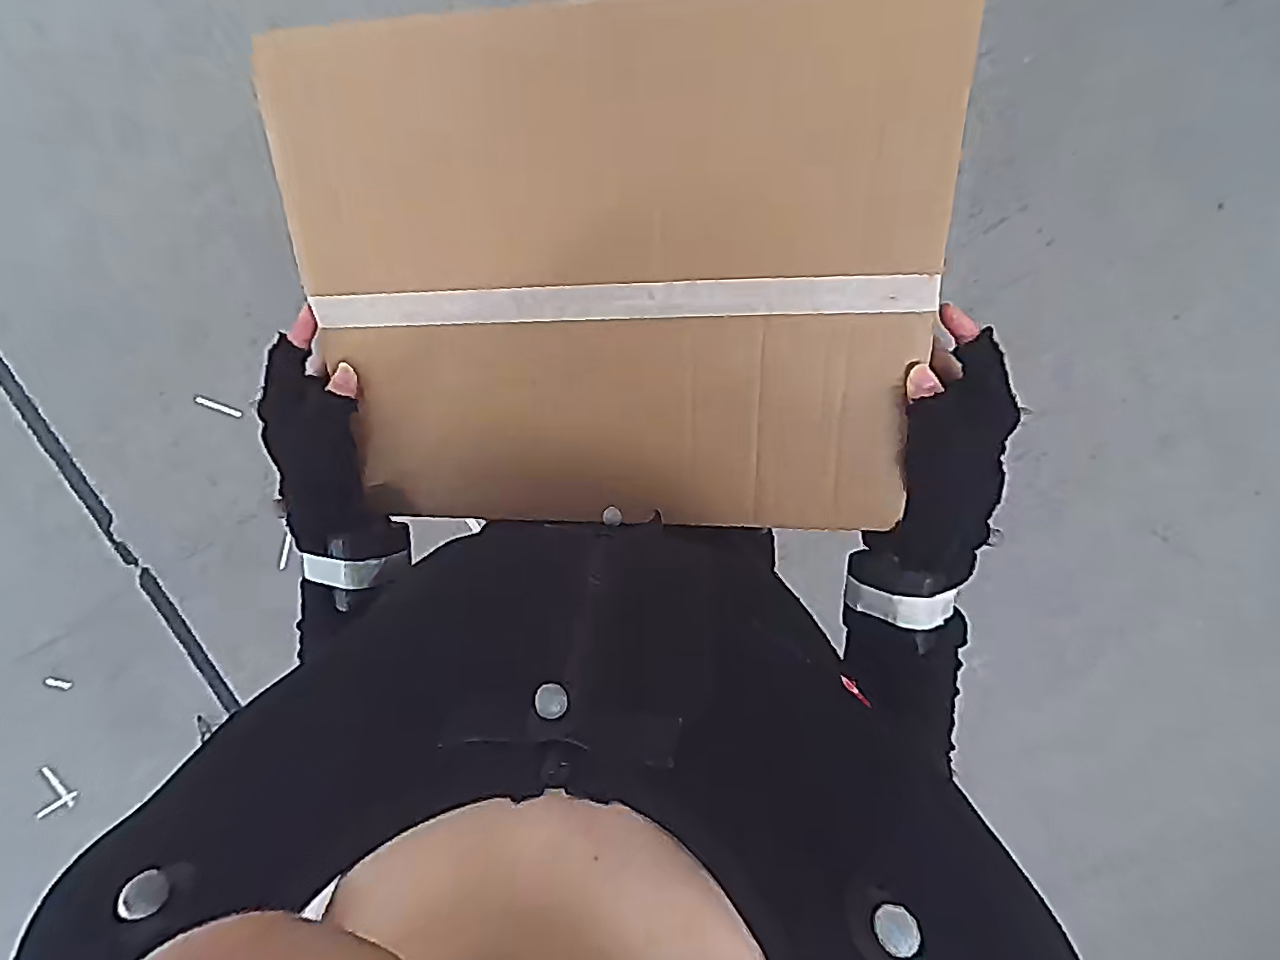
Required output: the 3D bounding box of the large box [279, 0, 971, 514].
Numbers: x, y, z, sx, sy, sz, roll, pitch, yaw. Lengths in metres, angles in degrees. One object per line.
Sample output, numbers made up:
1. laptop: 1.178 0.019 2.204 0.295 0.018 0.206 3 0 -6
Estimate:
1. large box: -0.003 -0.174 0.492 0.408 0.320 0.320 1 113 8
